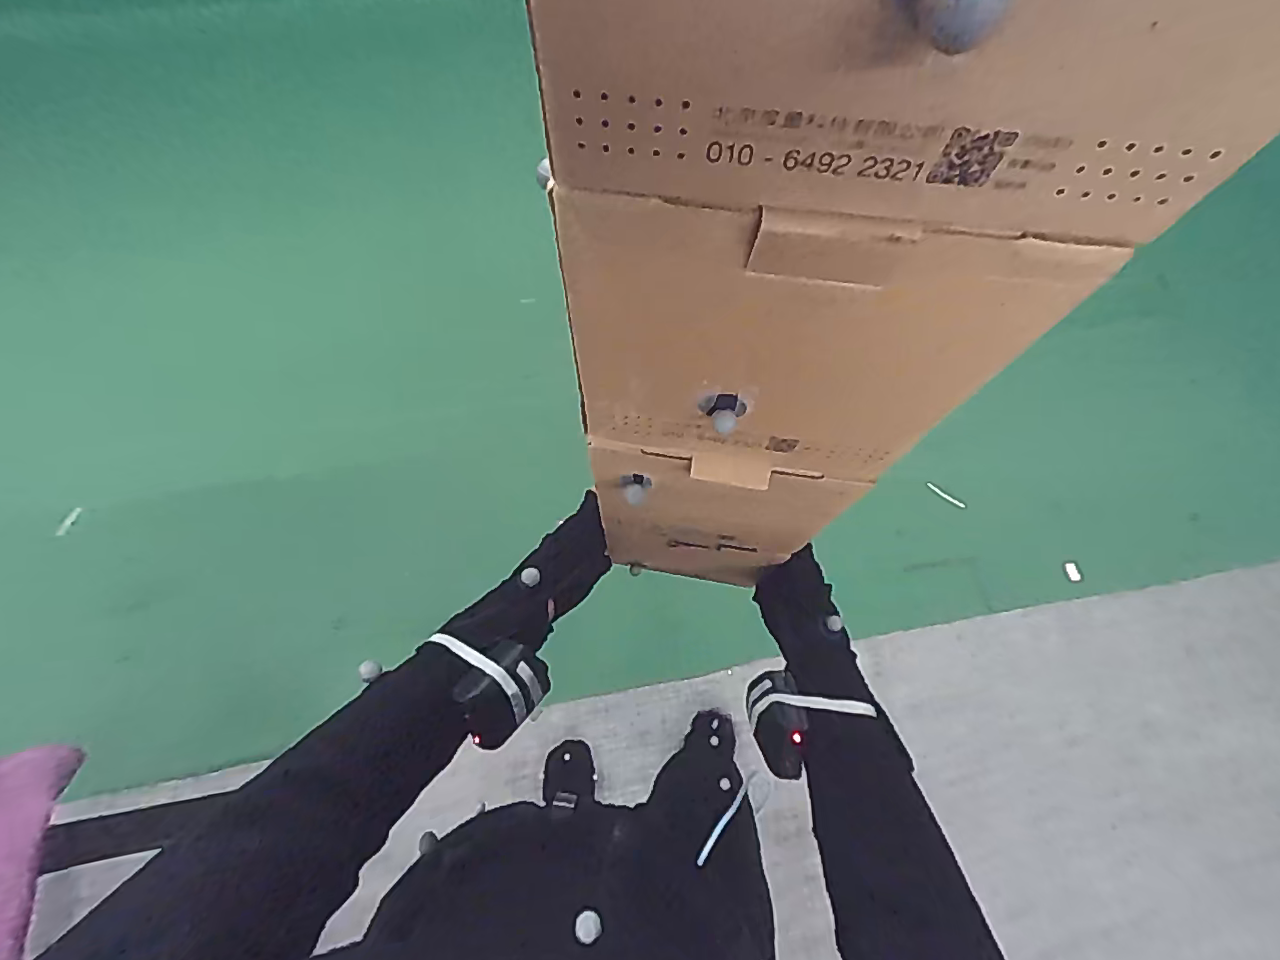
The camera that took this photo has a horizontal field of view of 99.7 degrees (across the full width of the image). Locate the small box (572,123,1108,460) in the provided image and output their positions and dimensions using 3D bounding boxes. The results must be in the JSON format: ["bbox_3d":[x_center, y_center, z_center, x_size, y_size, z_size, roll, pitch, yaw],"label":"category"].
[{"bbox_3d":[0.067,-0.129,0.267,0.168,0.176,0.179,7,69,1],"label":"small box"}]

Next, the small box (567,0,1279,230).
[{"bbox_3d":[0.069,-0.190,0.114,0.168,0.176,0.179,6,69,1],"label":"small box"}]

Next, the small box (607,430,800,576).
[{"bbox_3d":[0.065,-0.006,0.571,0.168,0.176,0.179,10,69,3],"label":"small box"}]
